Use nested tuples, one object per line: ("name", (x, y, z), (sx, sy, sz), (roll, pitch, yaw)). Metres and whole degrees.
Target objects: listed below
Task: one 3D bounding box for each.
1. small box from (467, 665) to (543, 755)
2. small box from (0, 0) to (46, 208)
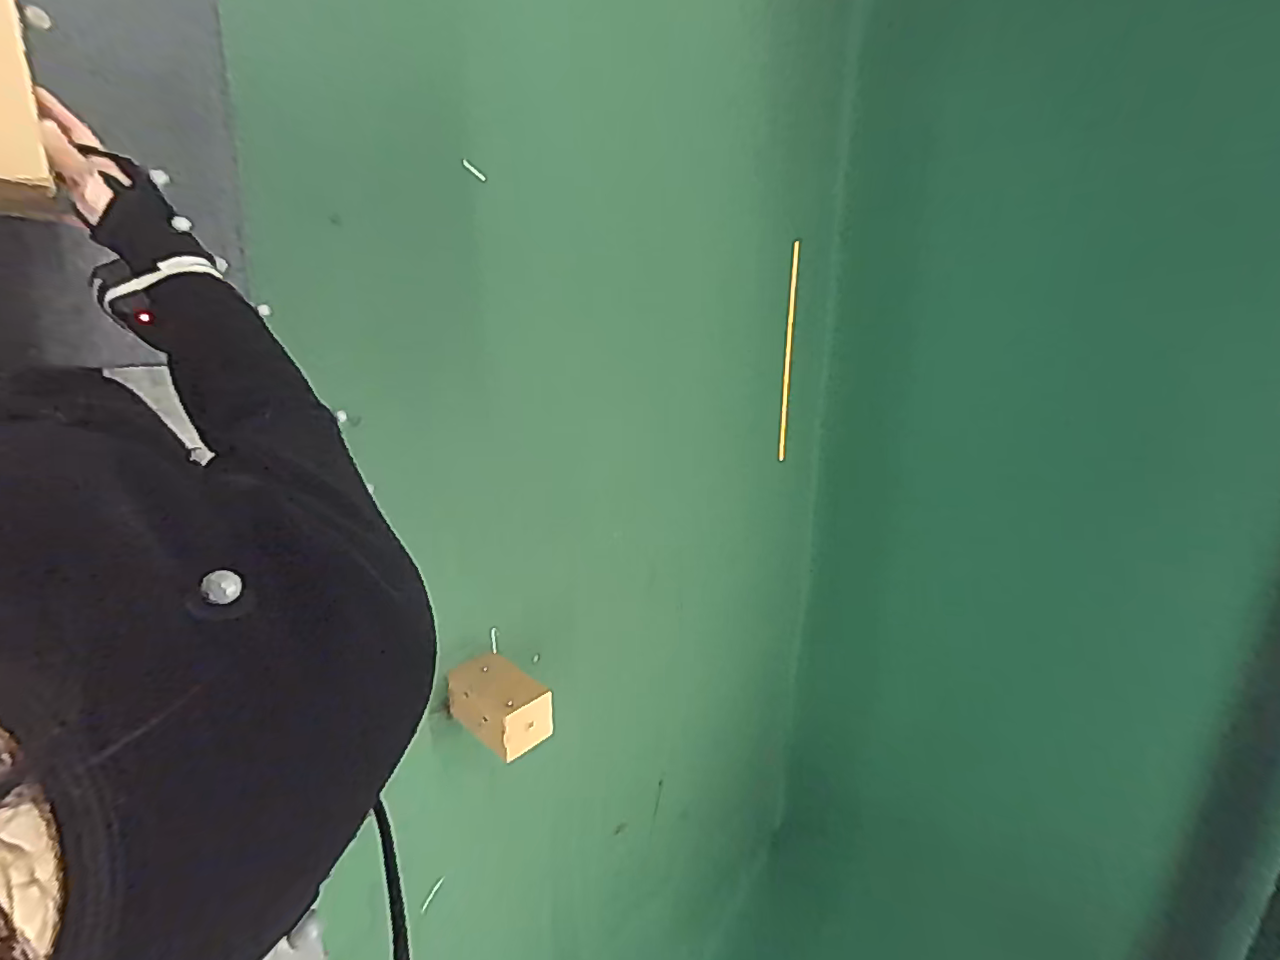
("small box", (-0.427, 0.720, 1.718), (0.179, 0.176, 0.168), (-15, 112, -46))
("small box", (-0.563, -0.317, 0.387), (0.168, 0.176, 0.179), (-11, 108, -43))
